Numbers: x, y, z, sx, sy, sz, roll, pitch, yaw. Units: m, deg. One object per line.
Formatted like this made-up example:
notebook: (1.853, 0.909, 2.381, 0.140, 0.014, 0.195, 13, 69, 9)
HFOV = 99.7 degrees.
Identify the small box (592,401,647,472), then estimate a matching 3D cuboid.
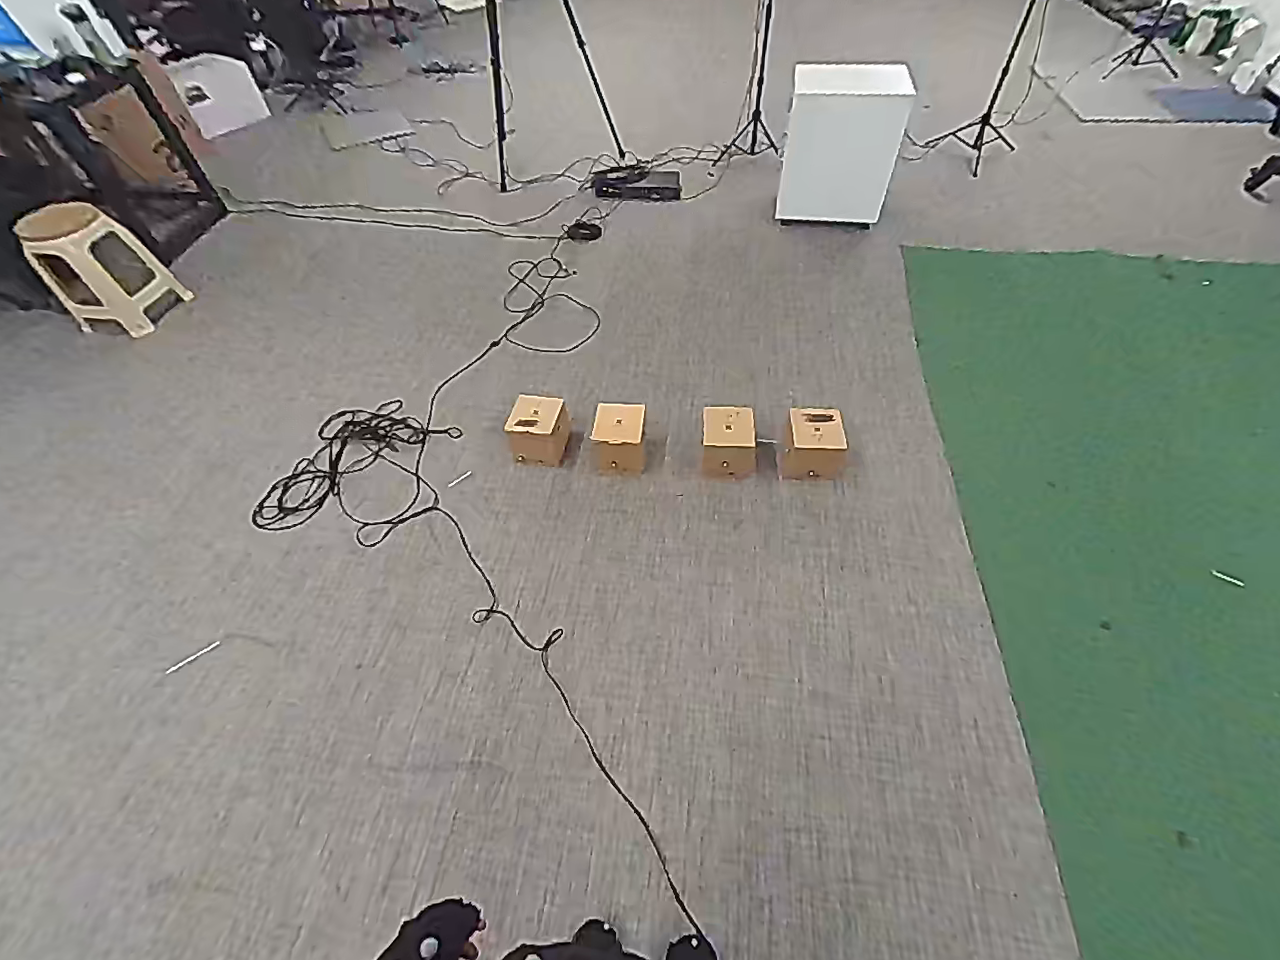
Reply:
small box: (-0.066, -0.151, 1.871, 0.168, 0.176, 0.179, 3, 54, 5)

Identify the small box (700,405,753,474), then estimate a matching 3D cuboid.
small box: (0.292, -0.135, 1.839, 0.168, 0.176, 0.179, 2, 53, 4)

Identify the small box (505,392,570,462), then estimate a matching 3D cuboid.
small box: (-0.353, -0.184, 1.908, 0.168, 0.176, 0.179, 7, 53, 8)
